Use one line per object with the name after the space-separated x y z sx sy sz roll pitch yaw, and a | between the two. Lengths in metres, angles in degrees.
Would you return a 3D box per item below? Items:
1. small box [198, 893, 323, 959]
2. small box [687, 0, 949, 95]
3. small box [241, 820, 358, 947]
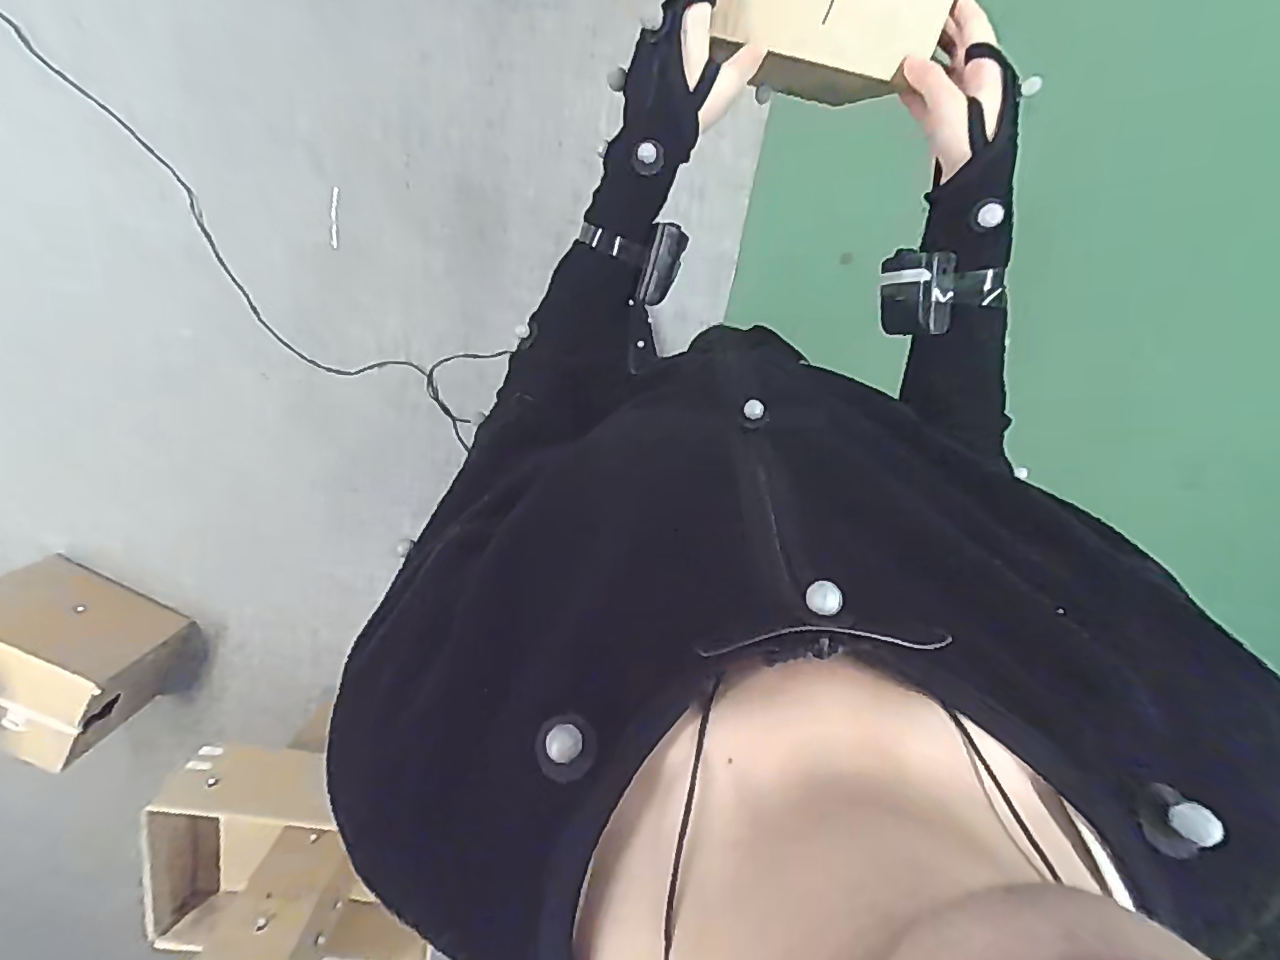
-0.746 0.952 1.056 0.168 0.176 0.179 7 103 -4 | small box
0.137 -0.420 0.410 0.168 0.176 0.179 8 121 -7 | small box
-0.756 0.911 1.215 0.168 0.176 0.179 9 104 -5 | small box
